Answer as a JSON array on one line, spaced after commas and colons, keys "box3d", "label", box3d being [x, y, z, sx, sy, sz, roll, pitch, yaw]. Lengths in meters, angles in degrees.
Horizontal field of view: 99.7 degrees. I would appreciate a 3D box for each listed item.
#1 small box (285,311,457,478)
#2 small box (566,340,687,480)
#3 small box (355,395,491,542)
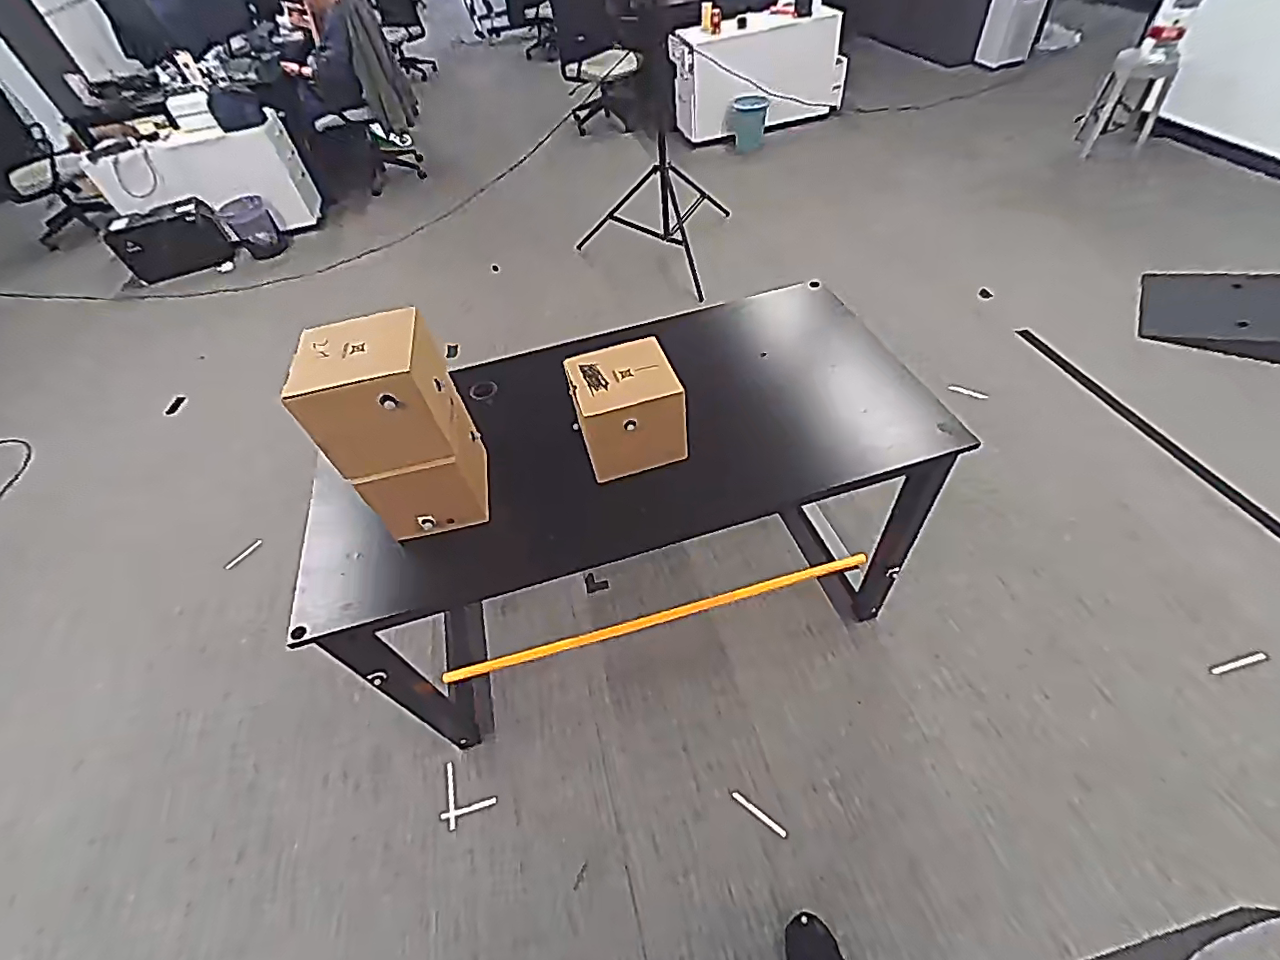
[{"box3d": [-0.392, -0.127, 0.828, 0.179, 0.176, 0.168, -14, 49, -3], "label": "small box"}, {"box3d": [-0.021, -0.123, 0.989, 0.179, 0.176, 0.168, -16, 50, -6], "label": "small box"}, {"box3d": [-0.368, -0.018, 0.950, 0.168, 0.176, 0.179, -14, 51, -3], "label": "small box"}]
